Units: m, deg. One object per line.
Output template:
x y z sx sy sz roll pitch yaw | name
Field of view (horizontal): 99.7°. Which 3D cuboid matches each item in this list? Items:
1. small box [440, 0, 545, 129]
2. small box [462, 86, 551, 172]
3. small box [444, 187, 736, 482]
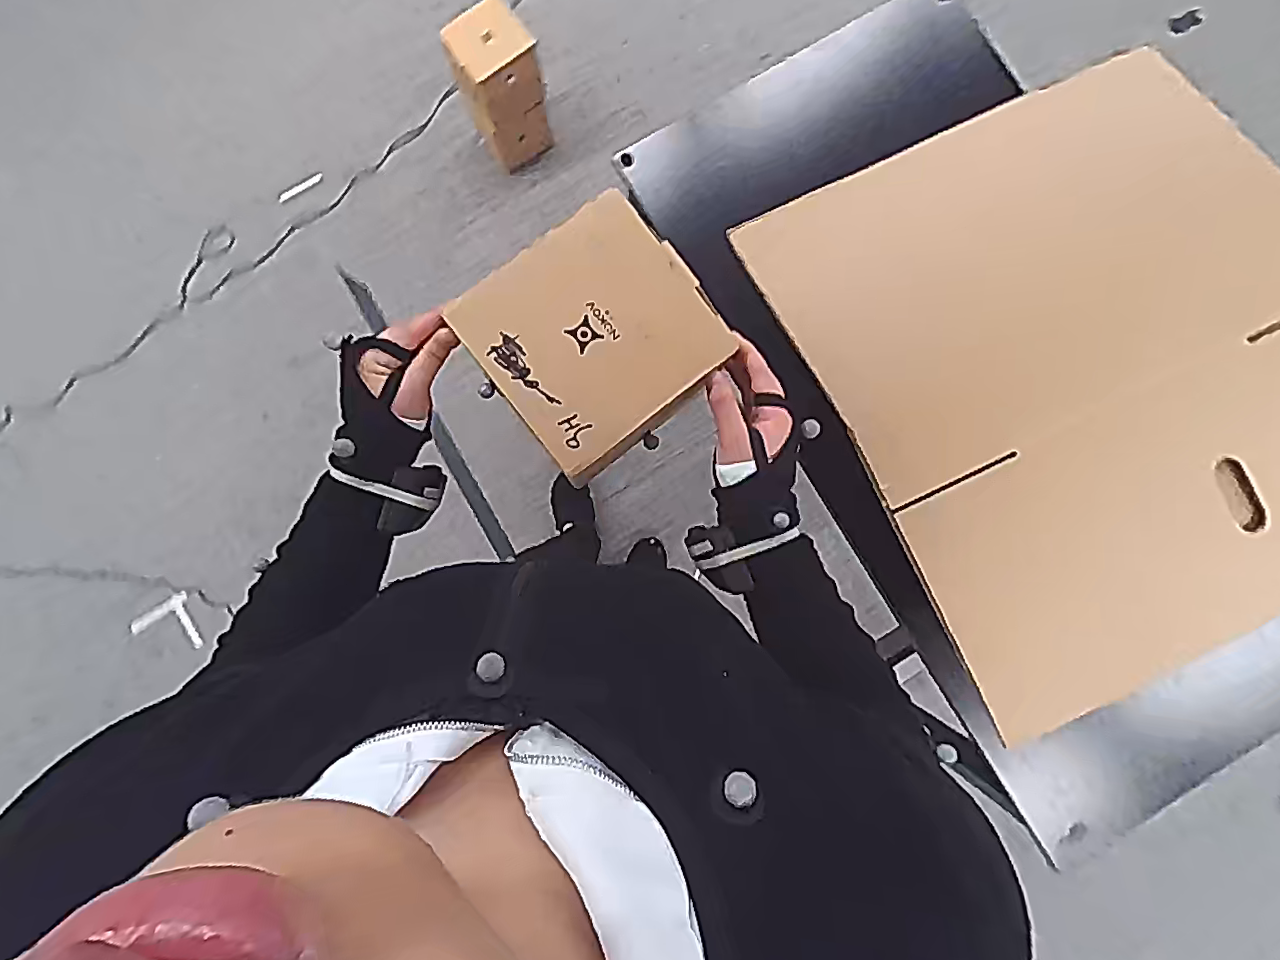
-0.363 -1.047 1.370 0.179 0.176 0.168 -38 87 -4 | small box
-0.367 -1.028 1.531 0.179 0.176 0.168 -34 86 -2 | small box
-0.045 -0.116 0.504 0.179 0.176 0.168 -40 89 -7 | small box
